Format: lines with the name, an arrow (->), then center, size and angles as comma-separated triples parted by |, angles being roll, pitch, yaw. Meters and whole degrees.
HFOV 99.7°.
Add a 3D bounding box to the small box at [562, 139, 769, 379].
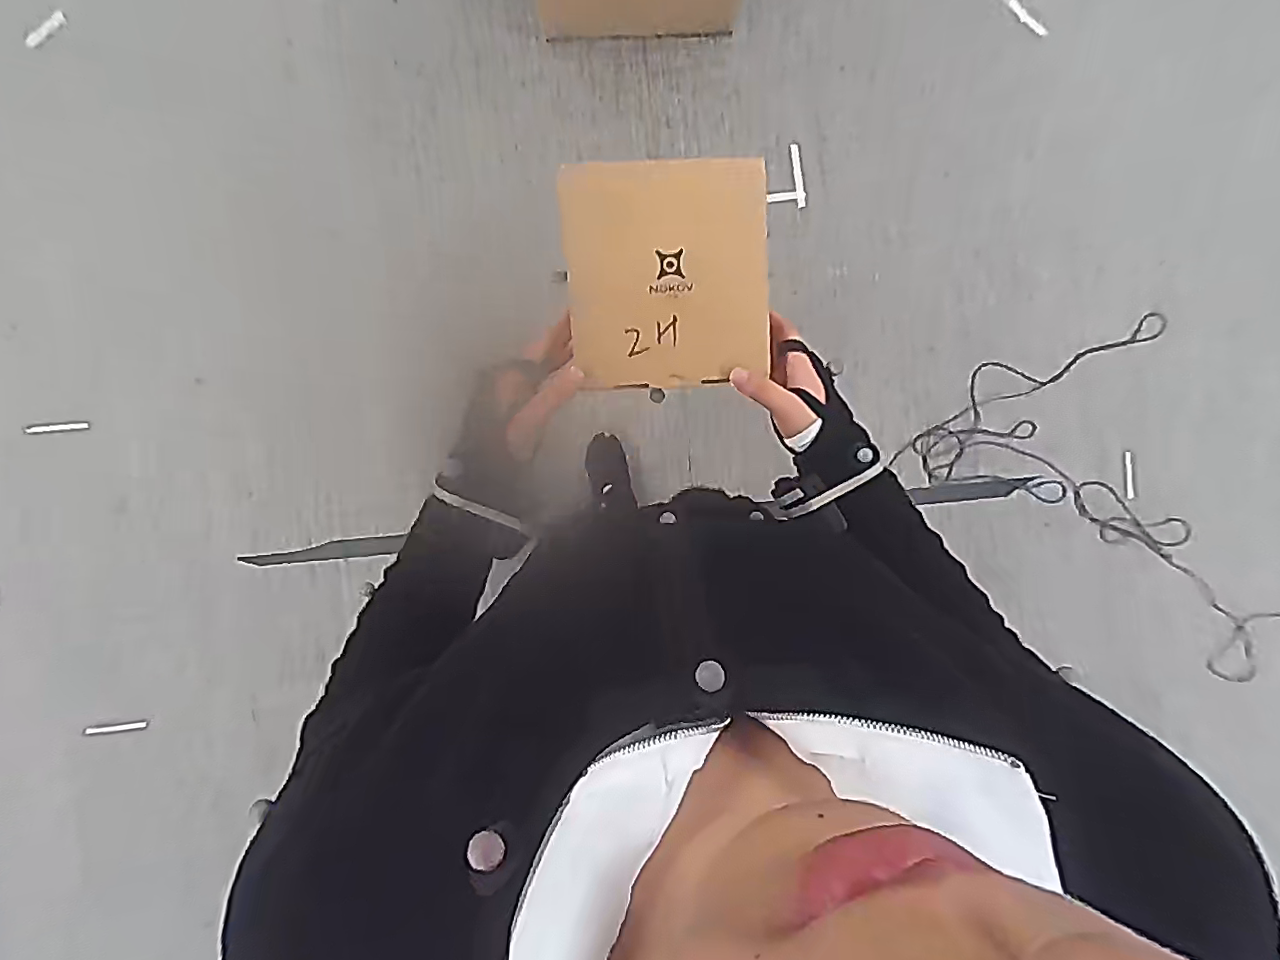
small box -> 0.014, -0.191, 0.511 | 0.168, 0.176, 0.179 | -4, 100, -5
